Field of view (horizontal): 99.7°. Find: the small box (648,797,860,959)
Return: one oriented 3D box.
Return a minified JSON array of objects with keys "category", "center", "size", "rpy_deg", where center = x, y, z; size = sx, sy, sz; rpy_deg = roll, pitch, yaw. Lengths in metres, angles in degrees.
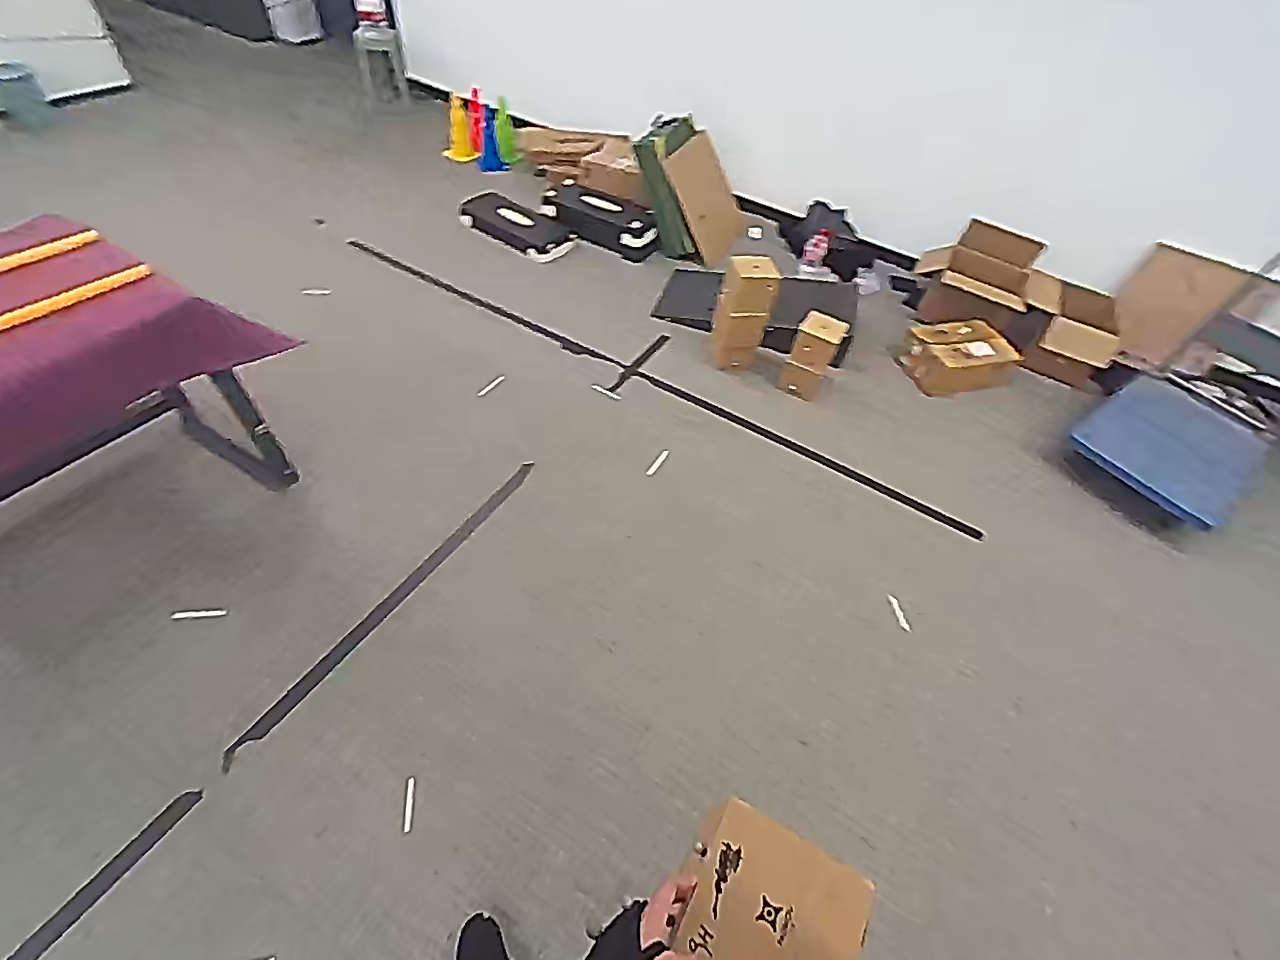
[{"category":"small box","center":[0.125,0.509,0.644],"size":[0.179,0.176,0.168],"rpy_deg":[27,58,13]}]
